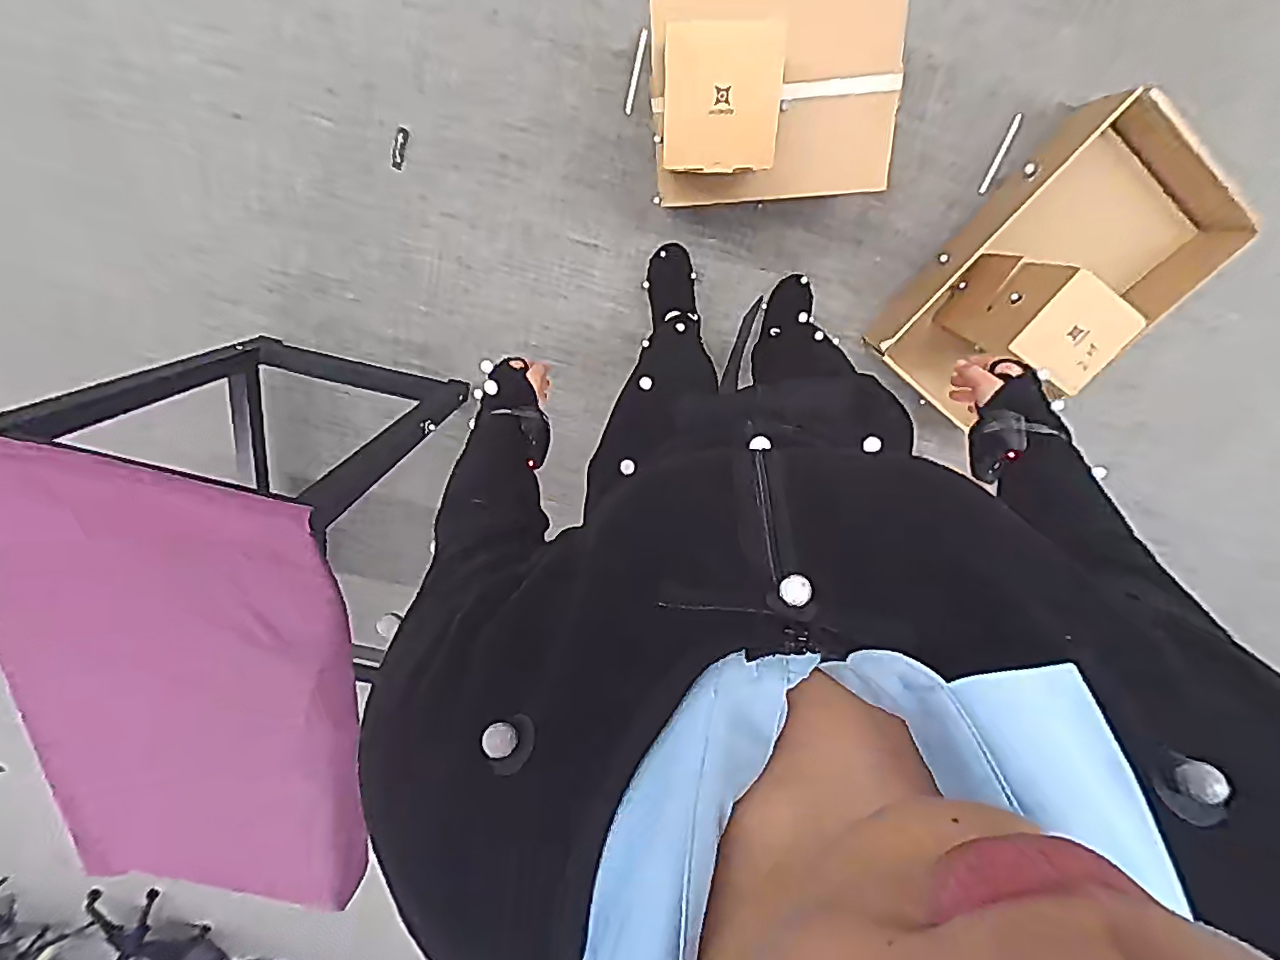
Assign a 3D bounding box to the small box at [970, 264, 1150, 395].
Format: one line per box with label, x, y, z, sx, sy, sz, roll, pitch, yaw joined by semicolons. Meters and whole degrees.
small box;0.785;-0.293;1.033;0.179;0.176;0.168;31;113;-12
